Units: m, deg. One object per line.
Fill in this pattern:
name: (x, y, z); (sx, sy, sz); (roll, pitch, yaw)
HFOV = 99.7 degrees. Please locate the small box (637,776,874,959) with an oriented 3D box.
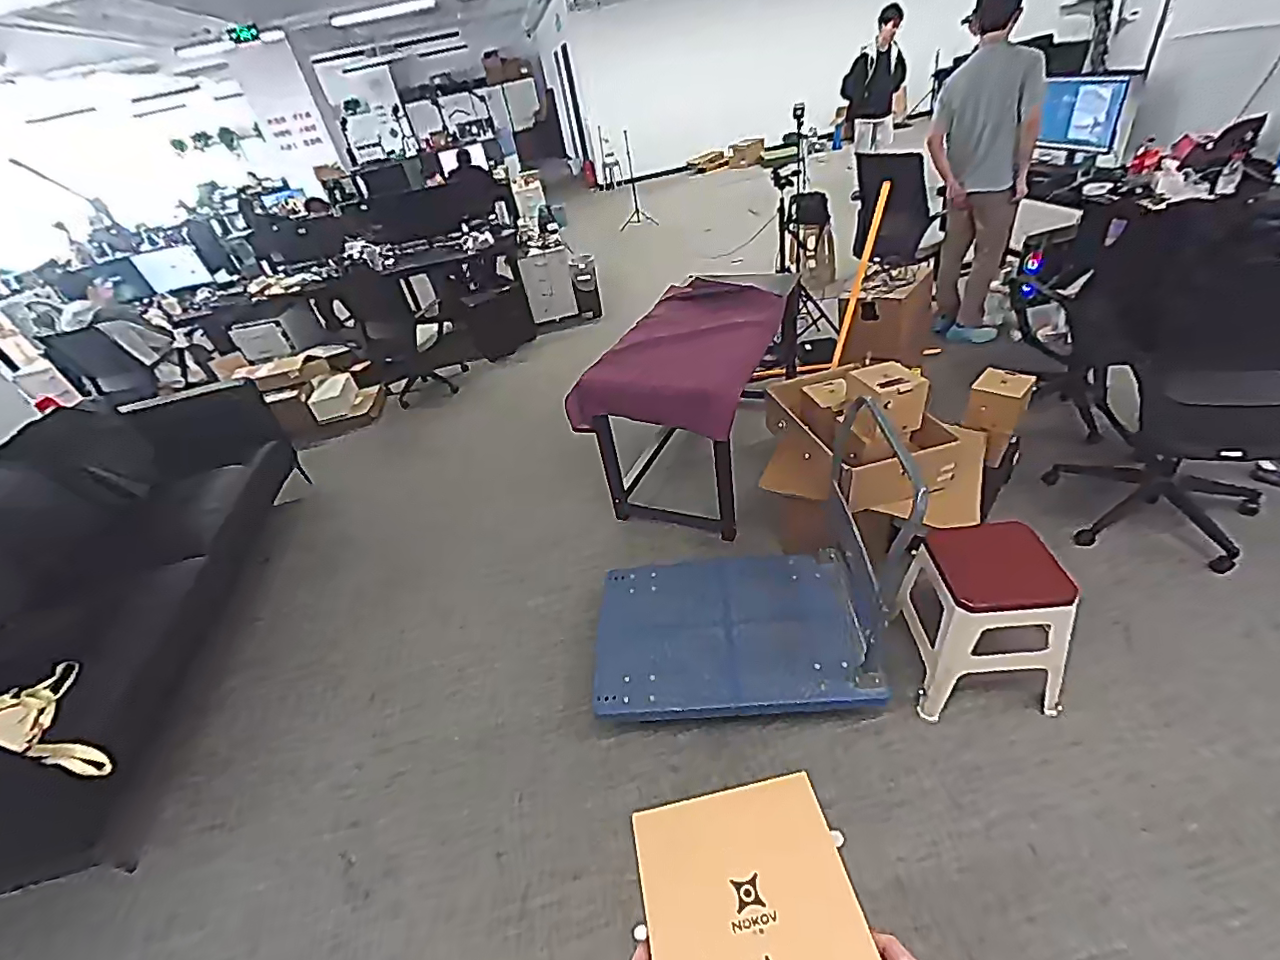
small box: (0.098, 0.404, 0.482); (0.168, 0.176, 0.179); (-12, 38, -1)
